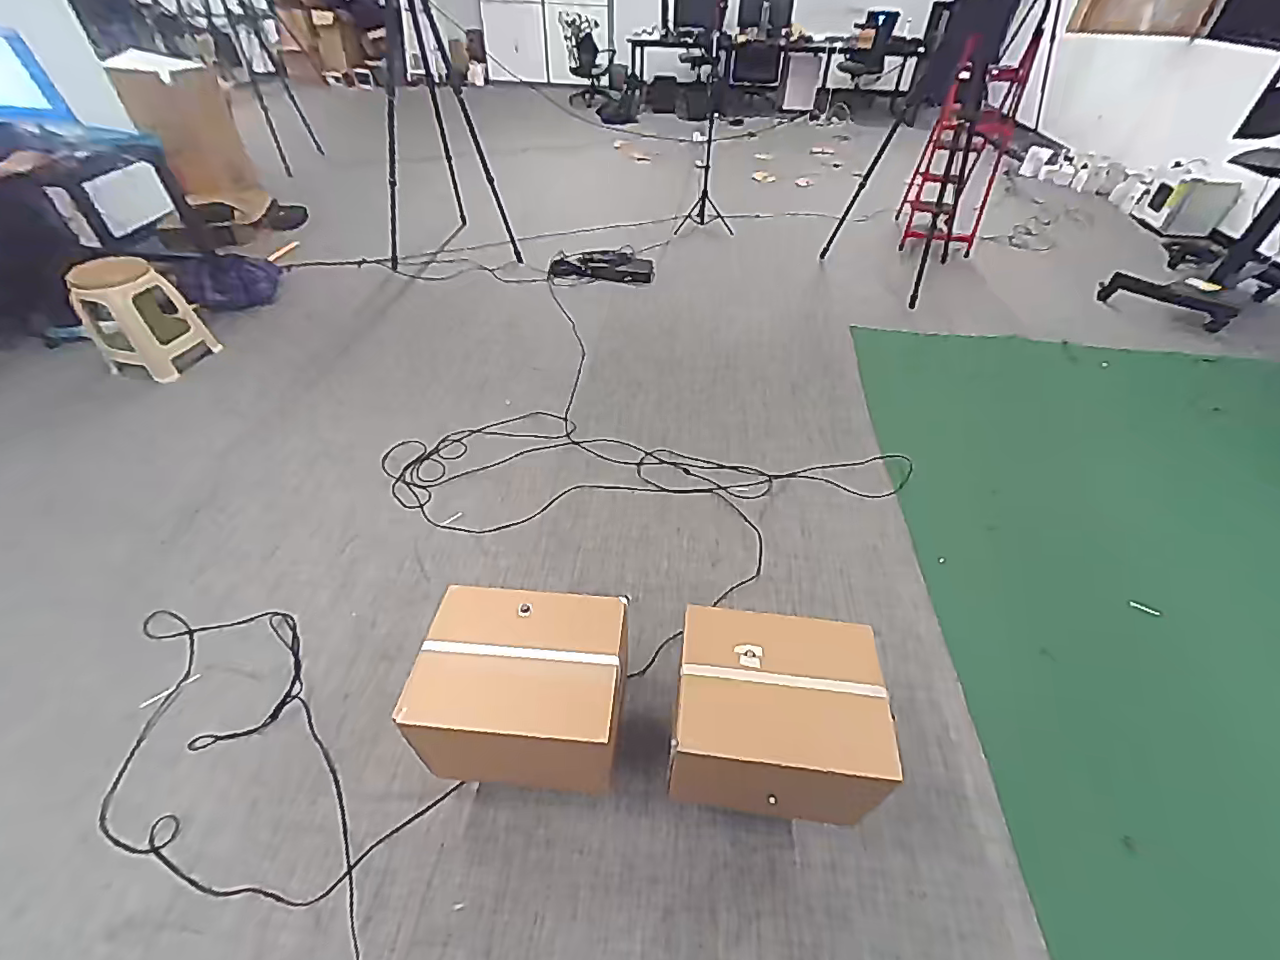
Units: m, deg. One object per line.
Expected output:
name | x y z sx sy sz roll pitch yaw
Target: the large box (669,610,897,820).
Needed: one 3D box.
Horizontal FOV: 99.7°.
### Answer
large box | 0.283 0.518 1.190 0.408 0.320 0.320 6 44 5
